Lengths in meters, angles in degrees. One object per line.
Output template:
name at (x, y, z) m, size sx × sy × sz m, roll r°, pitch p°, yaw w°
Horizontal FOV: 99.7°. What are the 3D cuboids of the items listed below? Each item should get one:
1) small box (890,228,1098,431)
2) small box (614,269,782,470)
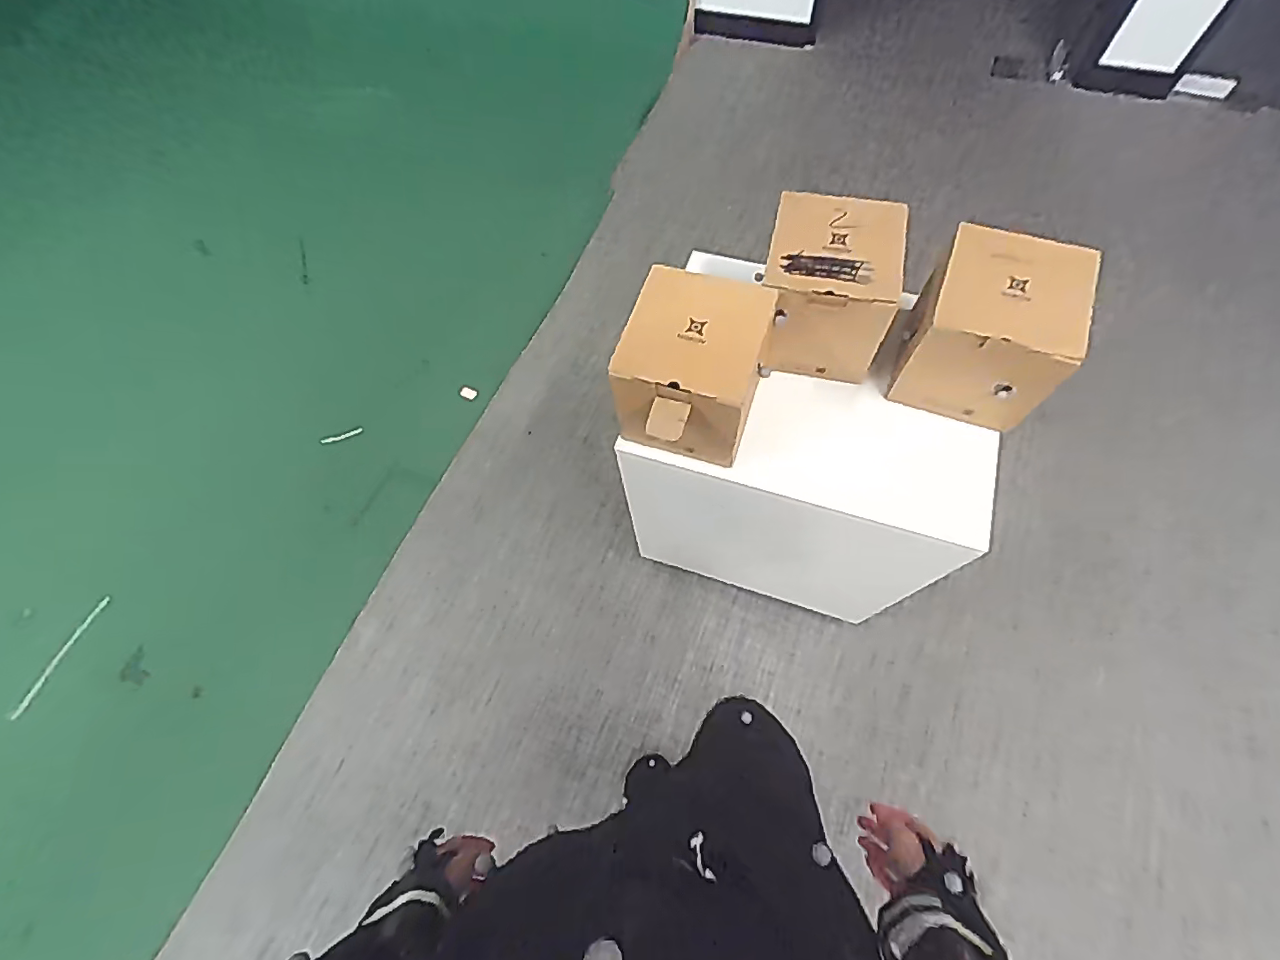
small box at (0.454, -0.190, 0.717) m, size 0.168 × 0.176 × 0.179 m, roll 20°, pitch 68°, yaw 12°
small box at (0.075, -0.141, 0.722) m, size 0.168 × 0.176 × 0.179 m, roll 17°, pitch 67°, yaw 11°
